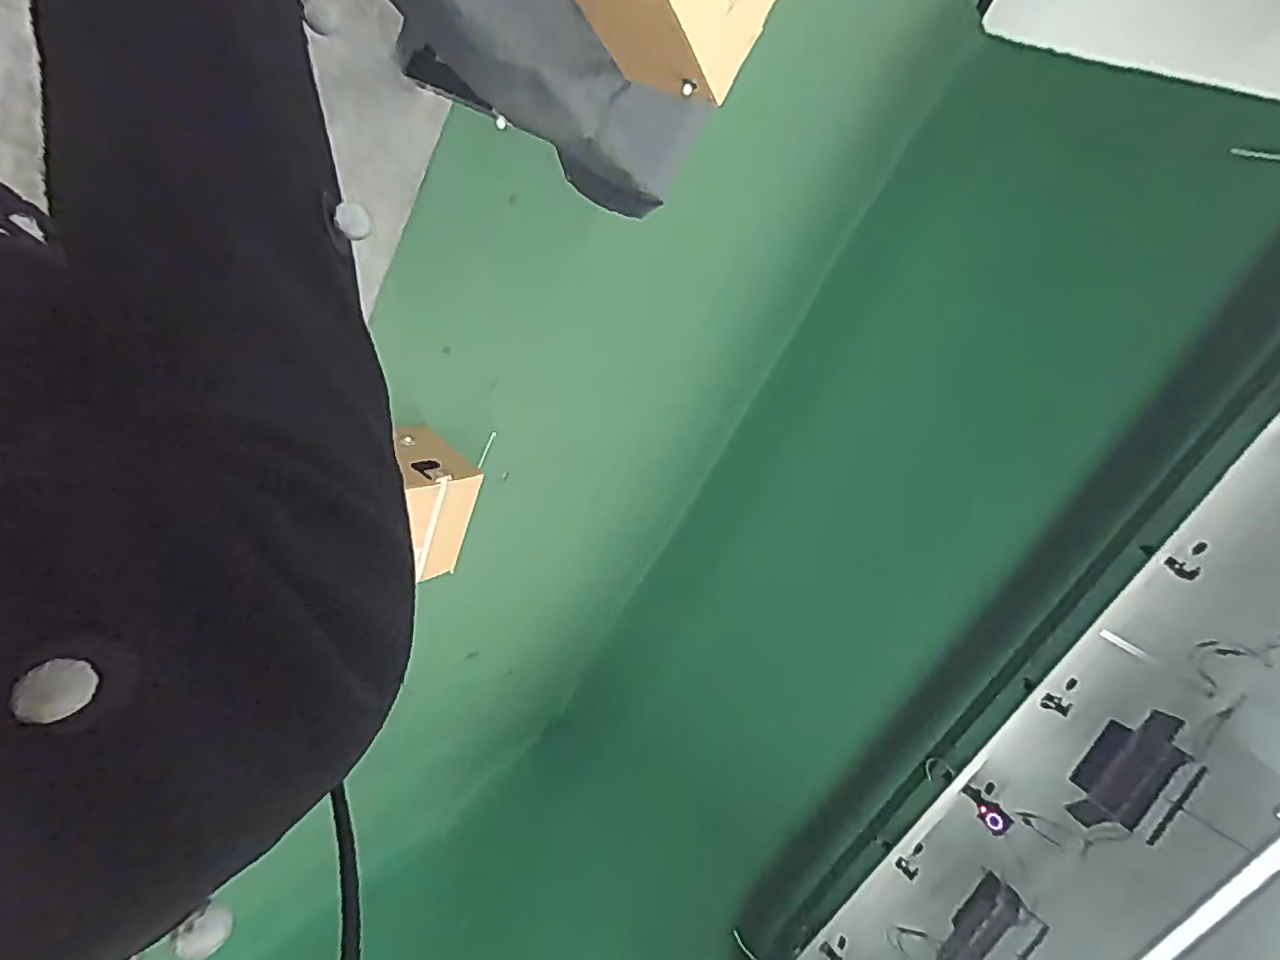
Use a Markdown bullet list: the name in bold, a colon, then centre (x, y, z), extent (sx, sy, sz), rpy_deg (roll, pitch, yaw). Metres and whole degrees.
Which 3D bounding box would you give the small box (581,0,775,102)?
- **small box**: centre (0.045, -0.600, 0.638), extent (0.168, 0.176, 0.179), rpy_deg (-60, 157, 13)
